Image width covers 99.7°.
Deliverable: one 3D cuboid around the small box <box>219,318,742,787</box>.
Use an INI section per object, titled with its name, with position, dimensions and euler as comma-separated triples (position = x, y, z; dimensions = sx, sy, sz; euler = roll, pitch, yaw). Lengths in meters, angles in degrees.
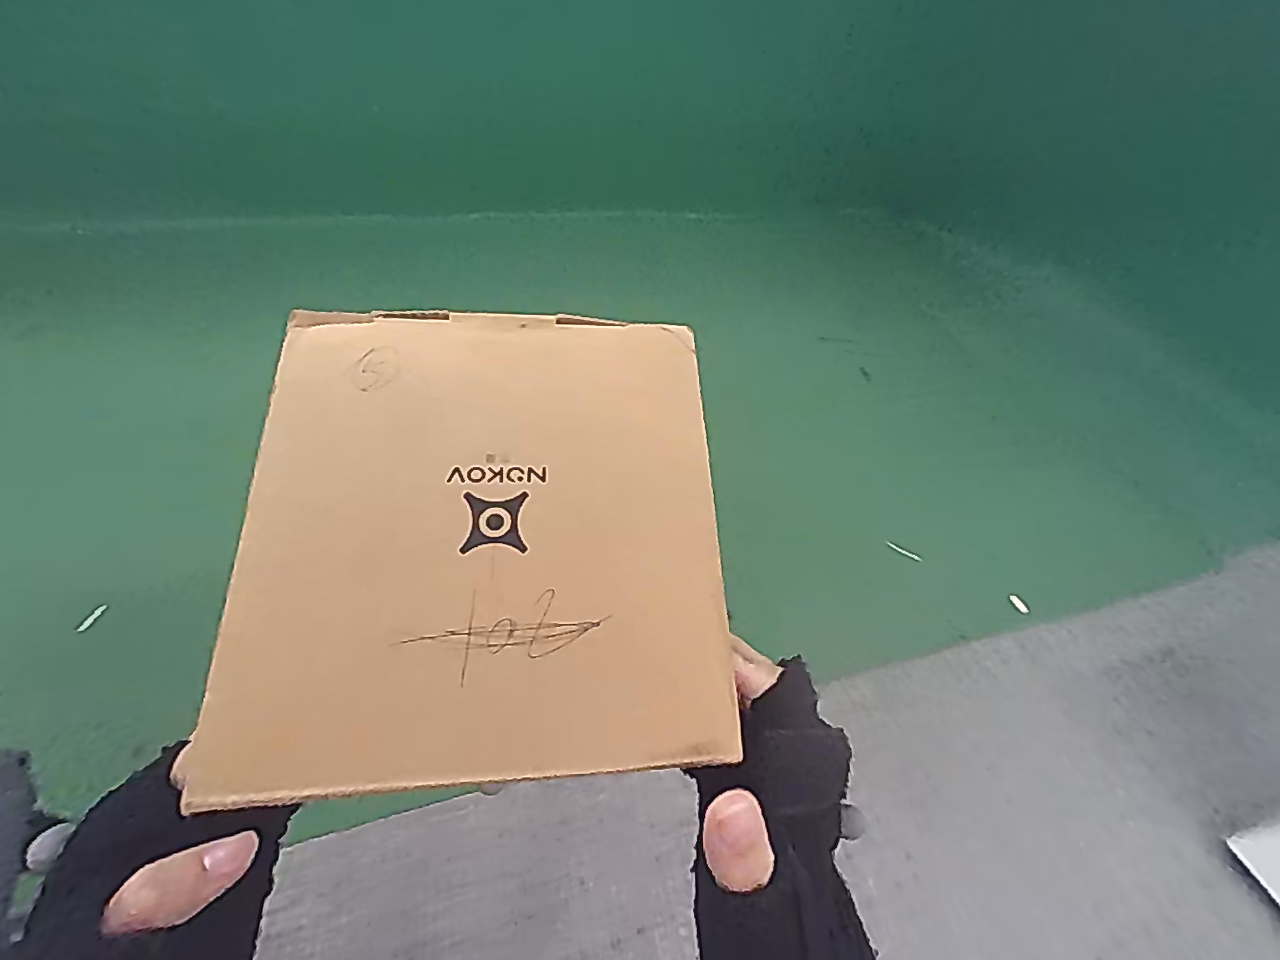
[small box]
position = -0.059, 0.043, 0.276
dimensions = 0.168, 0.176, 0.179
euler = 0, 68, -7
